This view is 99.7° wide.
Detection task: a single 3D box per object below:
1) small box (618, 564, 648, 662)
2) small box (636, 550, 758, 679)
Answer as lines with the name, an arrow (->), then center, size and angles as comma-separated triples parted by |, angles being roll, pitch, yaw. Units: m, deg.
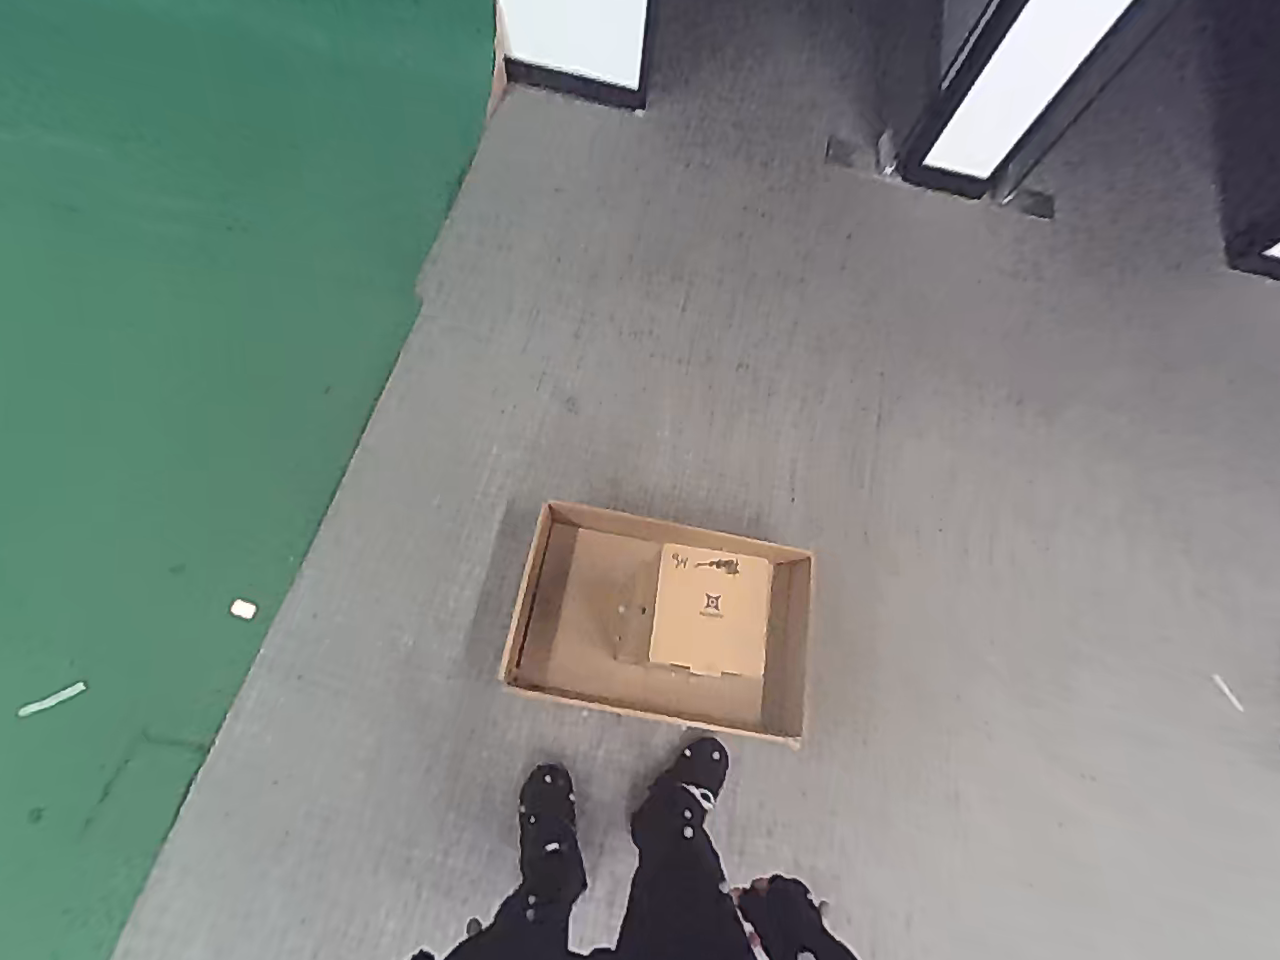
small box -> 0.062, 0.273, 1.035 | 0.179, 0.176, 0.168 | 12, 68, -1
small box -> 0.087, 0.226, 0.883 | 0.168, 0.176, 0.179 | 7, 69, -3
